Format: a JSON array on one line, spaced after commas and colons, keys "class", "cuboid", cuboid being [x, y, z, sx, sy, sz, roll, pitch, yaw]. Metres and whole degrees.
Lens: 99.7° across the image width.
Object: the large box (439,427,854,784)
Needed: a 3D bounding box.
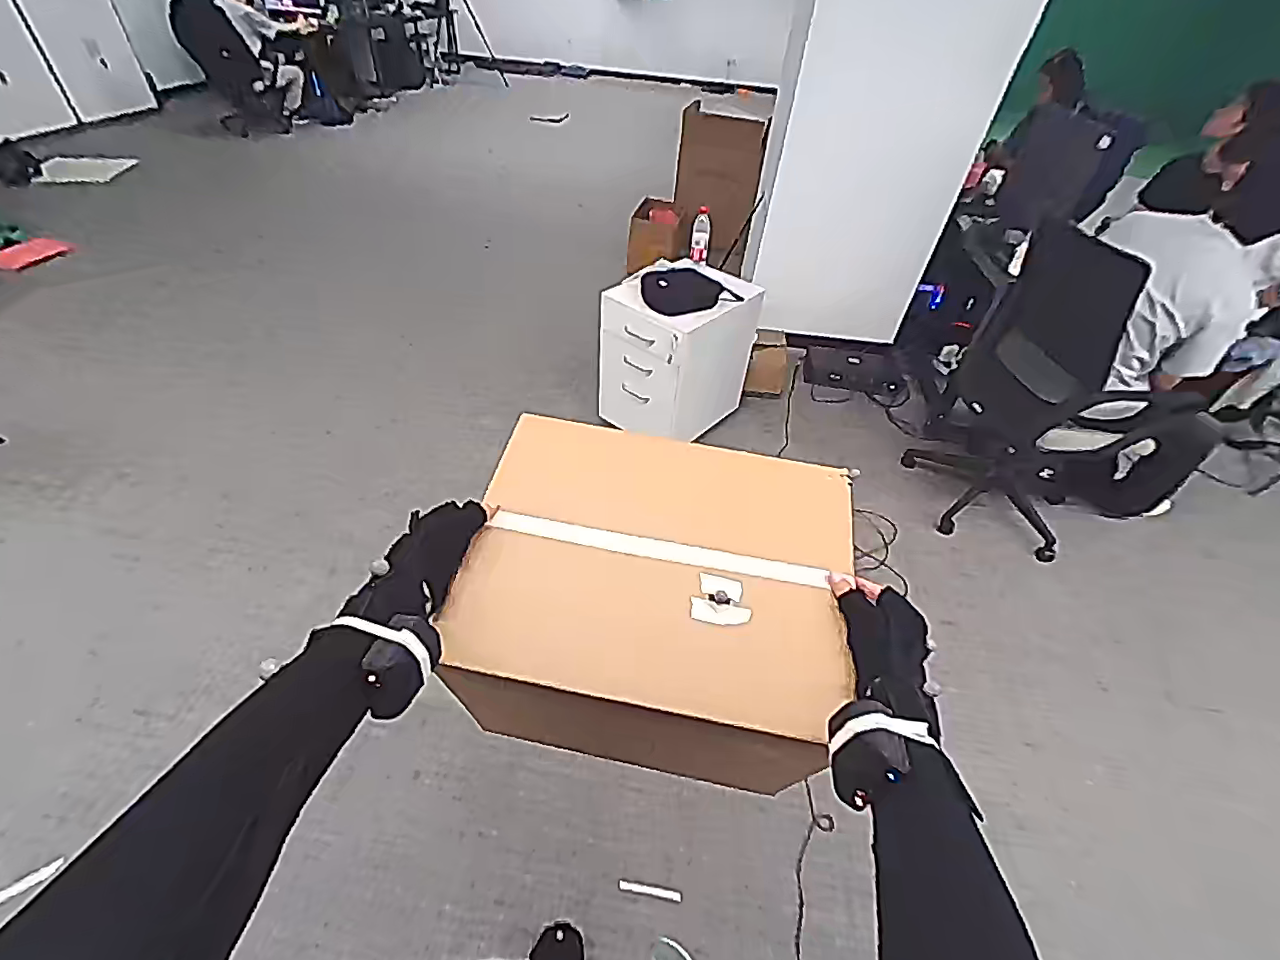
[{"class": "large box", "cuboid": [0.016, 0.171, 0.709, 0.408, 0.320, 0.320, 10, 54, 4]}]
